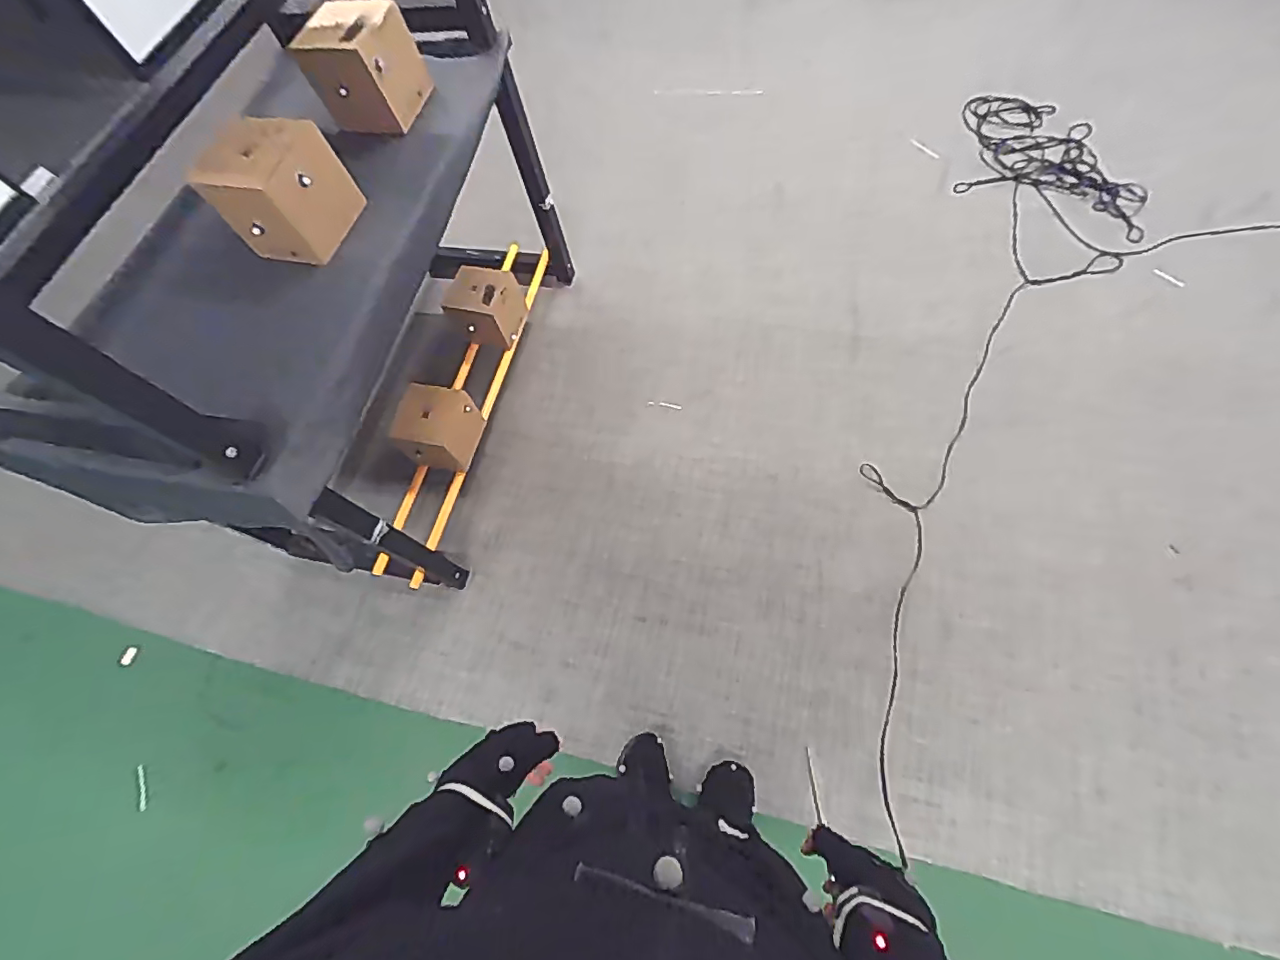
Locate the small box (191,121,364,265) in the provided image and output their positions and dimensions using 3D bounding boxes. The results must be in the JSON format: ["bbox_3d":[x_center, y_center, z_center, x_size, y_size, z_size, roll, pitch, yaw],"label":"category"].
[{"bbox_3d":[-0.657,-0.528,1.006,0.168,0.176,0.179,12,68,13],"label":"small box"}]

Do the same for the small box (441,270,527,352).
[{"bbox_3d":[-0.471,-0.516,1.667,0.179,0.176,0.168,12,67,13],"label":"small box"}]
